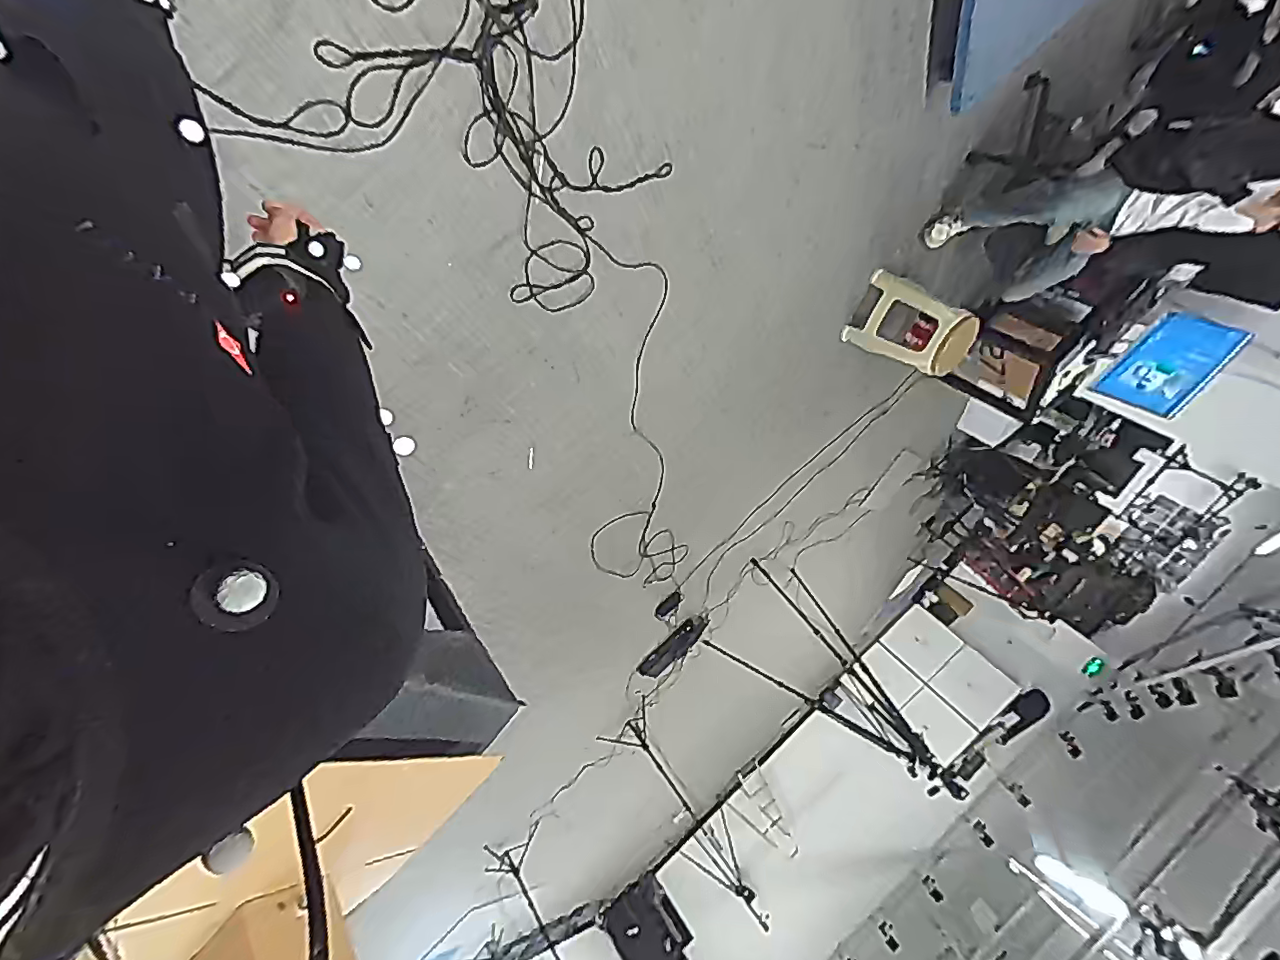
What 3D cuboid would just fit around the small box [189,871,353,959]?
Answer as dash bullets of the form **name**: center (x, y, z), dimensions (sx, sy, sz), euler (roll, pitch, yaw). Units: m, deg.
- **small box**: center (-0.651, 0.842, 0.946), dimensions (0.179, 0.176, 0.168), euler (-48, 149, 5)
